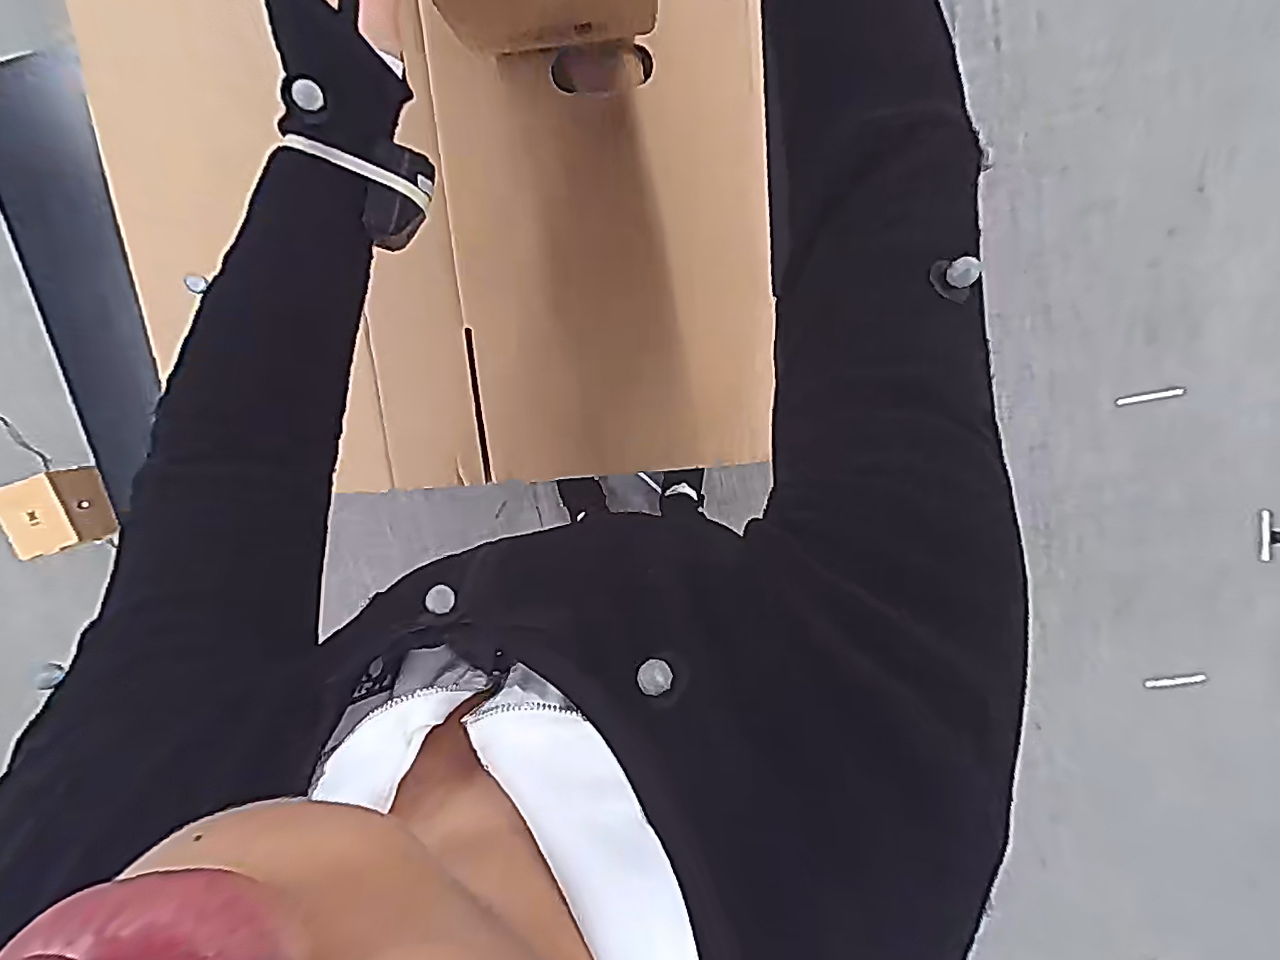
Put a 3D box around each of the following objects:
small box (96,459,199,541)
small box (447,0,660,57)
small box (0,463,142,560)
[{"bbox_3d":[-1.377,0.047,1.484,0.168,0.176,0.179,-14,100,6],"label":"small box"},{"bbox_3d":[-0.074,-0.433,0.362,0.168,0.176,0.179,-4,103,4],"label":"small box"},{"bbox_3d":[-1.390,0.072,1.324,0.168,0.176,0.179,-17,98,6],"label":"small box"}]
